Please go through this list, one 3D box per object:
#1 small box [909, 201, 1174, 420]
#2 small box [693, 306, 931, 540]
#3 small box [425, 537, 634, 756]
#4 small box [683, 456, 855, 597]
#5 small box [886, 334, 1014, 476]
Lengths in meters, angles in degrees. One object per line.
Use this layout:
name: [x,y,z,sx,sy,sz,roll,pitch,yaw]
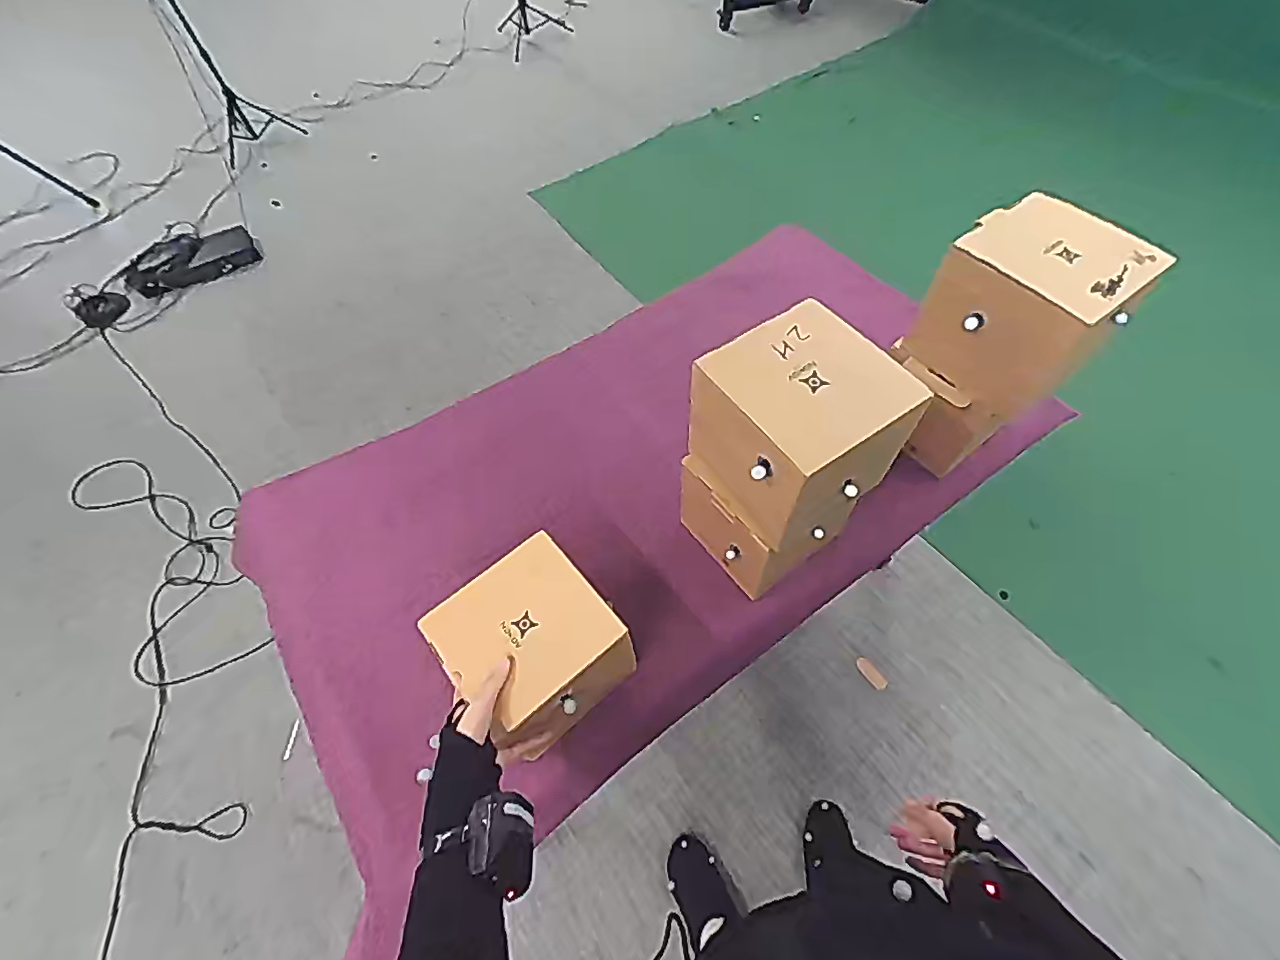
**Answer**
small box: [0.483,-0.210,0.685,0.168,0.176,0.179,-33,61,-15]
small box: [0.175,-0.054,0.611,0.168,0.176,0.179,-30,61,-14]
small box: [-0.121,0.207,0.662,0.179,0.176,0.168,-38,63,-16]
small box: [0.178,0.033,0.751,0.179,0.176,0.168,-32,61,-16]
small box: [0.483,-0.137,0.833,0.179,0.176,0.168,-35,63,-16]
